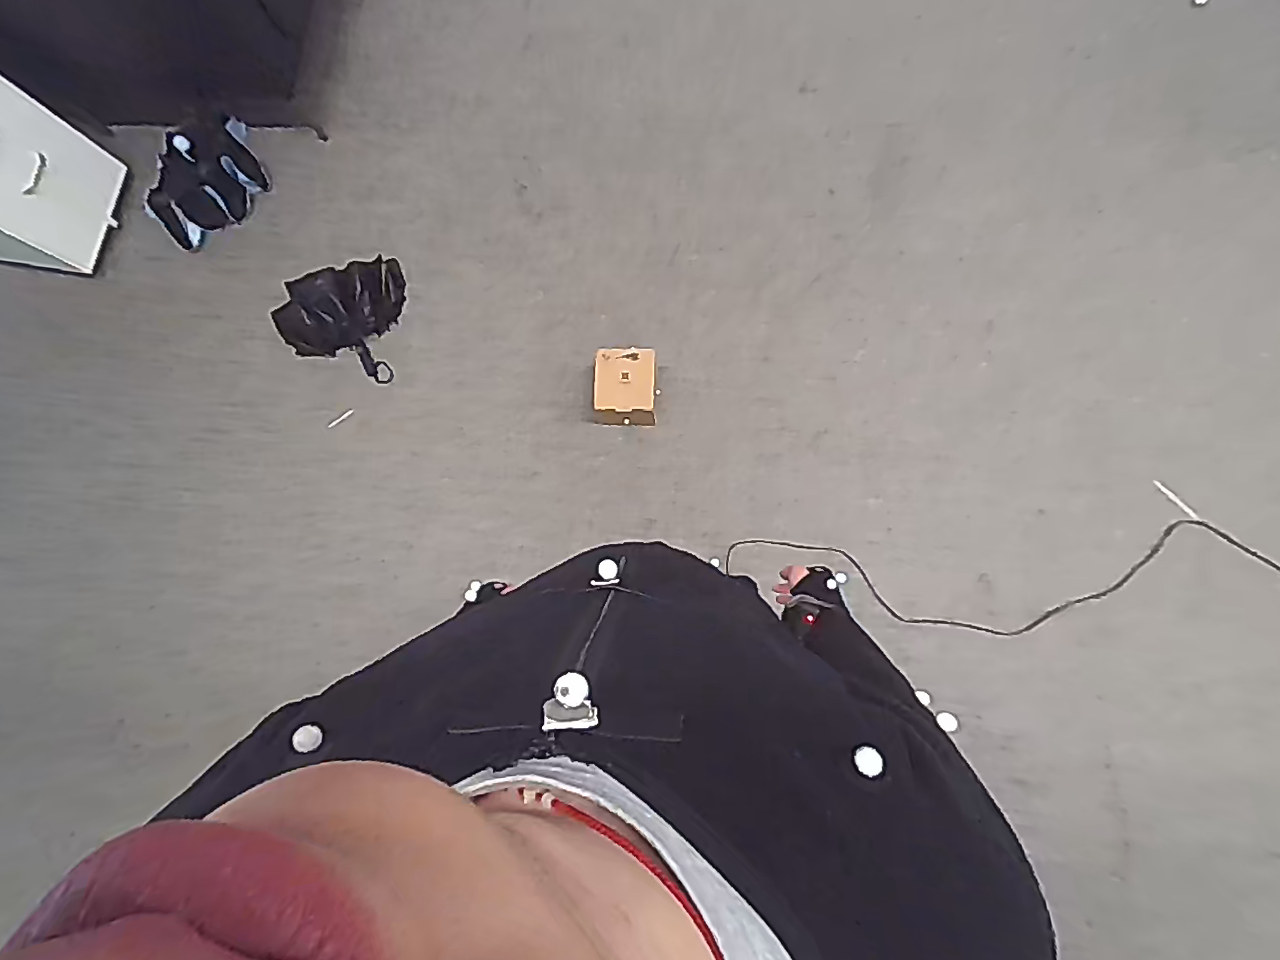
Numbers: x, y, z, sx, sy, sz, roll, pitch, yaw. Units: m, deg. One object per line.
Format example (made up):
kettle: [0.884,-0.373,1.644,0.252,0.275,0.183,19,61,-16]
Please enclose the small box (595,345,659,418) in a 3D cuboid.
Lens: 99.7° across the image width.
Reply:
small box: [-0.032,-0.277,1.555,0.168,0.176,0.179,1,84,5]
